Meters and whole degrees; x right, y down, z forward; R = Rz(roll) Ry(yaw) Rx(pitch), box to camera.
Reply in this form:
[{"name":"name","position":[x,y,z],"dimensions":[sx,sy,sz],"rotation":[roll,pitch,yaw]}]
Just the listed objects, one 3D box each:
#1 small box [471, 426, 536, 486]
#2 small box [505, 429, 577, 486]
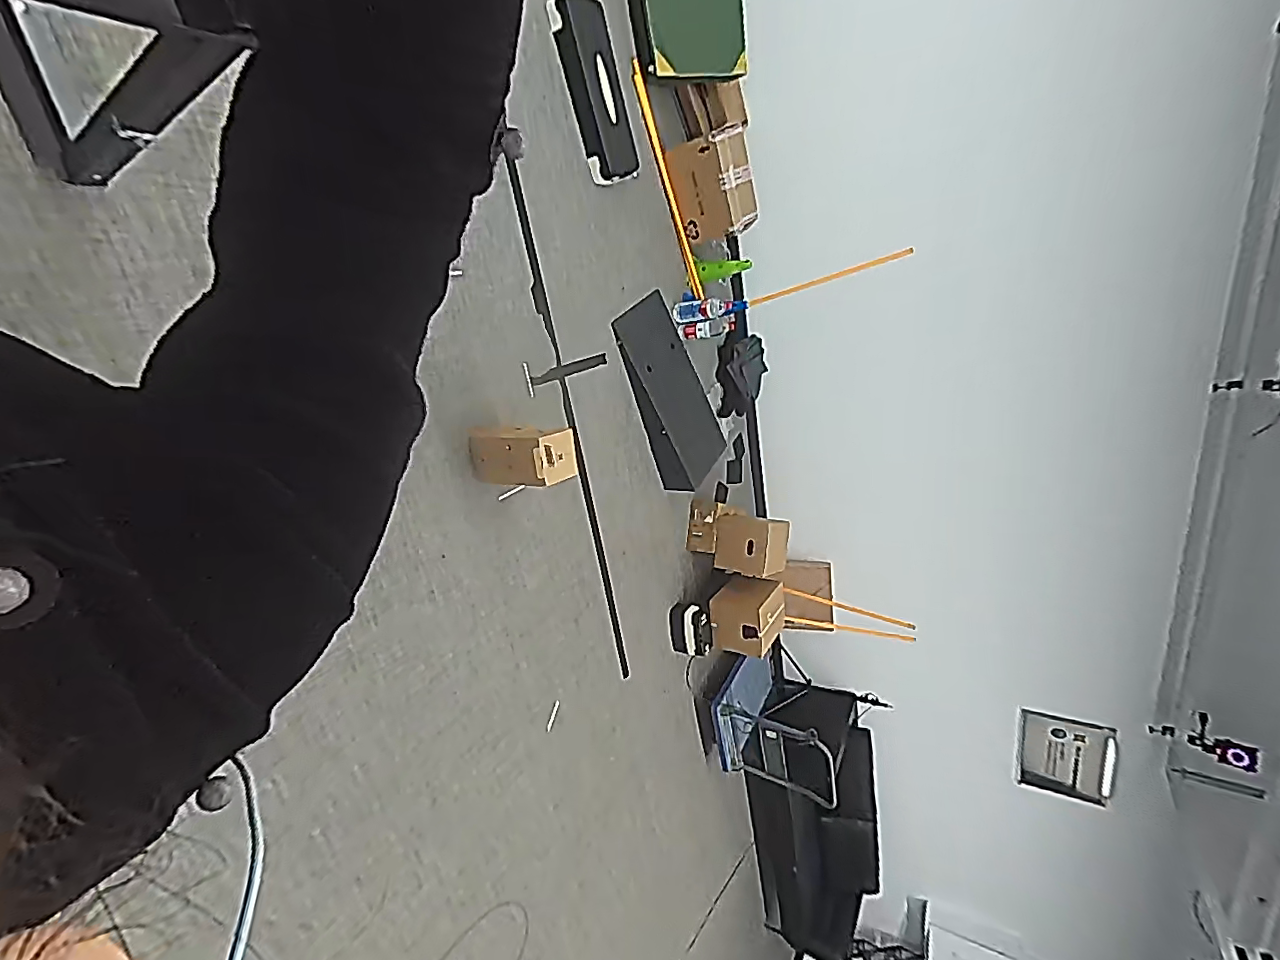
[{"name":"small box","position":[-0.478,-0.093,1.937],"dimensions":[0.168,0.176,0.179],"rotation":[-32,120,-52]},{"name":"small box","position":[-0.342,-0.079,1.845],"dimensions":[0.179,0.176,0.168],"rotation":[-26,114,-54]}]
